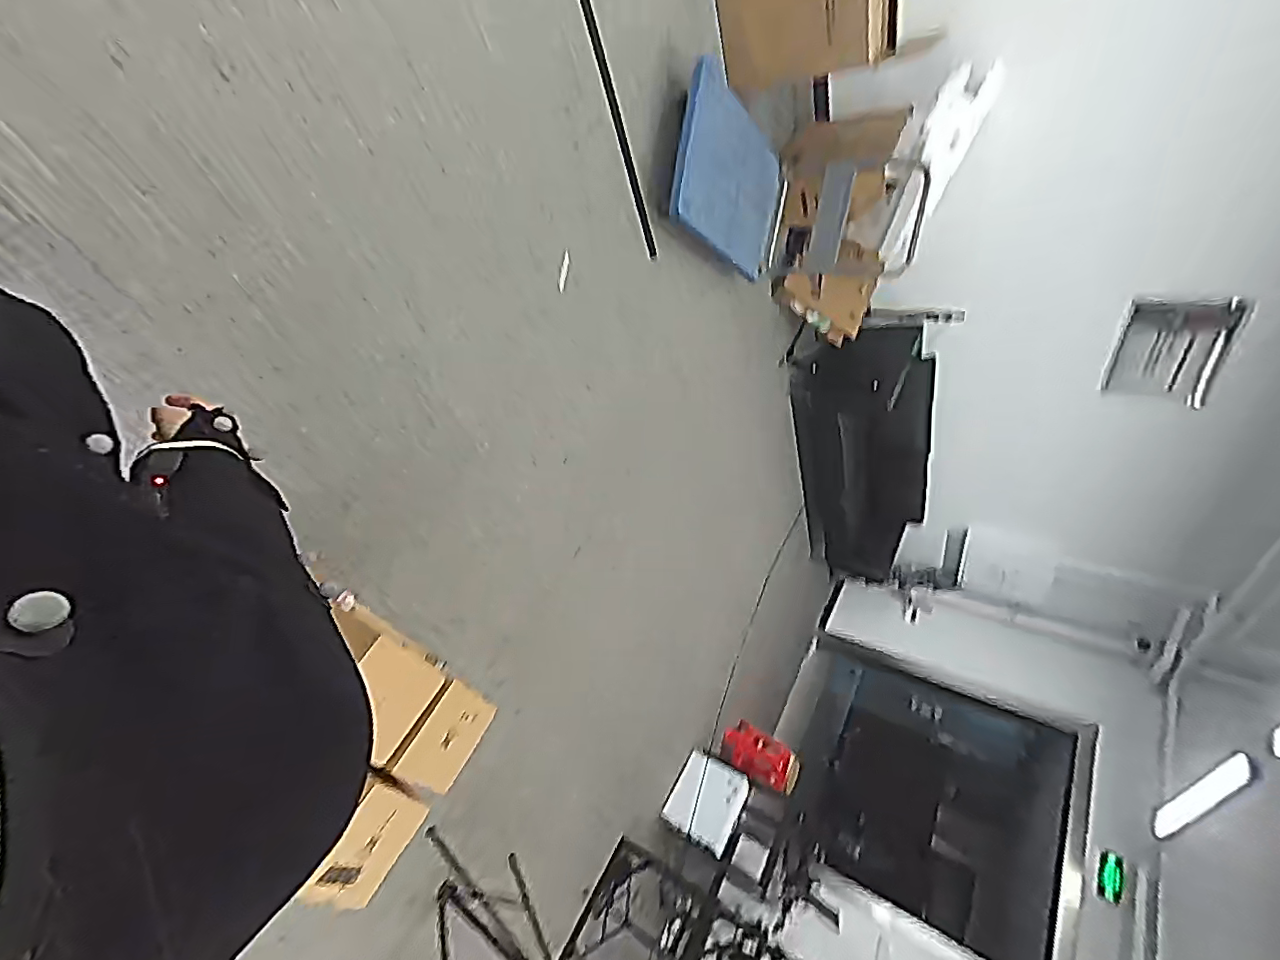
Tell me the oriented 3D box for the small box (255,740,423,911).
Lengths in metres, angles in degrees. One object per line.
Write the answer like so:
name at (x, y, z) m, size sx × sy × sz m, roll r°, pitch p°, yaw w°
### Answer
small box at (-0.533, 0.602, 0.952) m, size 0.179 × 0.176 × 0.168 m, roll -54°, pitch 140°, yaw -29°
